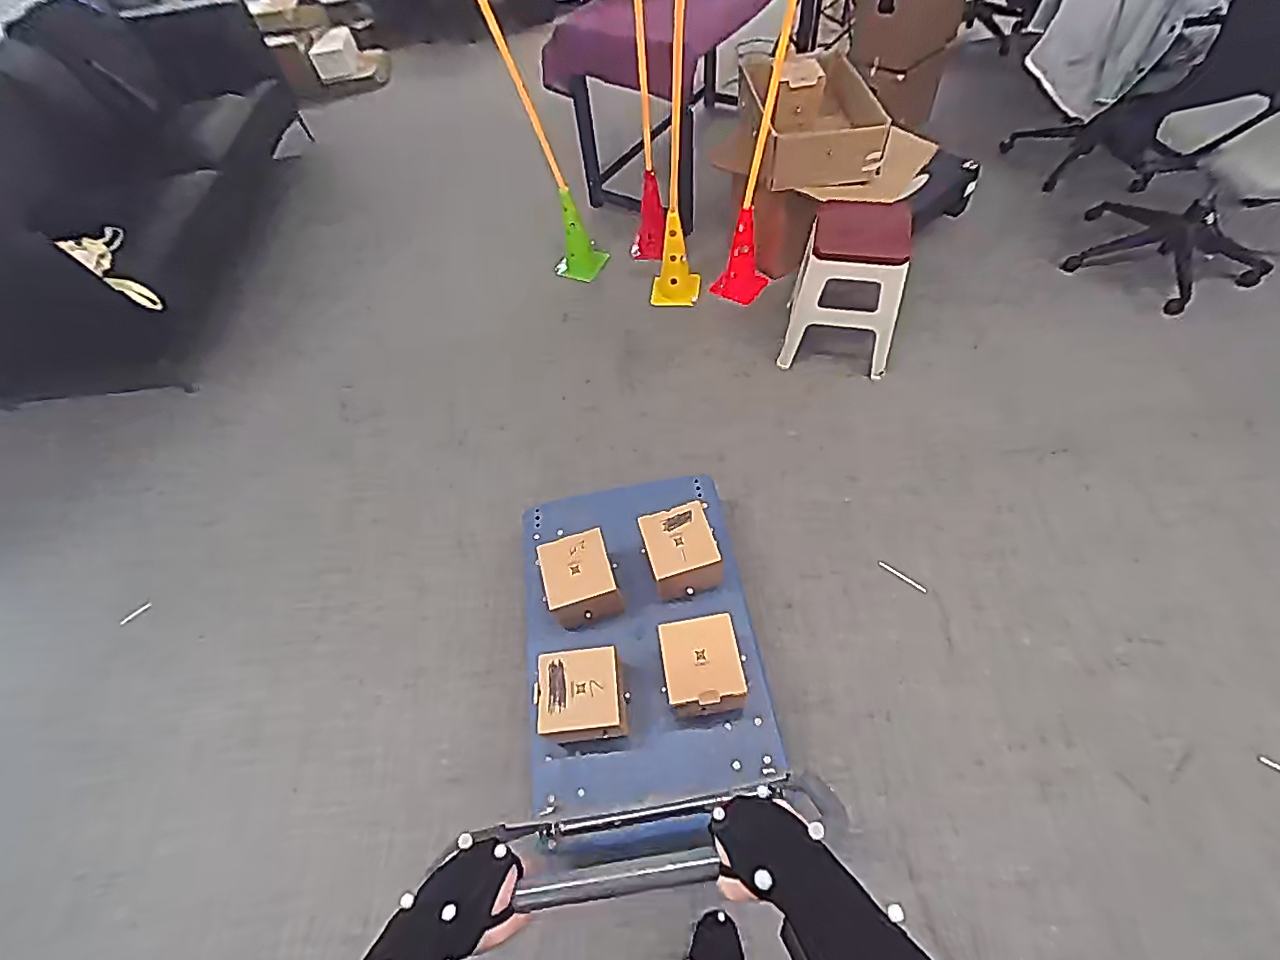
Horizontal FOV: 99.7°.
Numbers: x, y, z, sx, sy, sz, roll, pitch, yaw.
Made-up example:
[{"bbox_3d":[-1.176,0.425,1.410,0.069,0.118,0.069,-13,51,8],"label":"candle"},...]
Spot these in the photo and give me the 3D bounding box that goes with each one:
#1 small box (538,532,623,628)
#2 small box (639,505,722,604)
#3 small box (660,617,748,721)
[{"bbox_3d":[-0.148,0.263,1.376,0.168,0.176,0.179,-16,57,-4],"label":"small box"},{"bbox_3d":[0.102,0.195,1.388,0.168,0.176,0.179,-16,58,-3],"label":"small box"},{"bbox_3d":[0.141,0.434,1.234,0.168,0.176,0.179,-10,58,1],"label":"small box"}]
